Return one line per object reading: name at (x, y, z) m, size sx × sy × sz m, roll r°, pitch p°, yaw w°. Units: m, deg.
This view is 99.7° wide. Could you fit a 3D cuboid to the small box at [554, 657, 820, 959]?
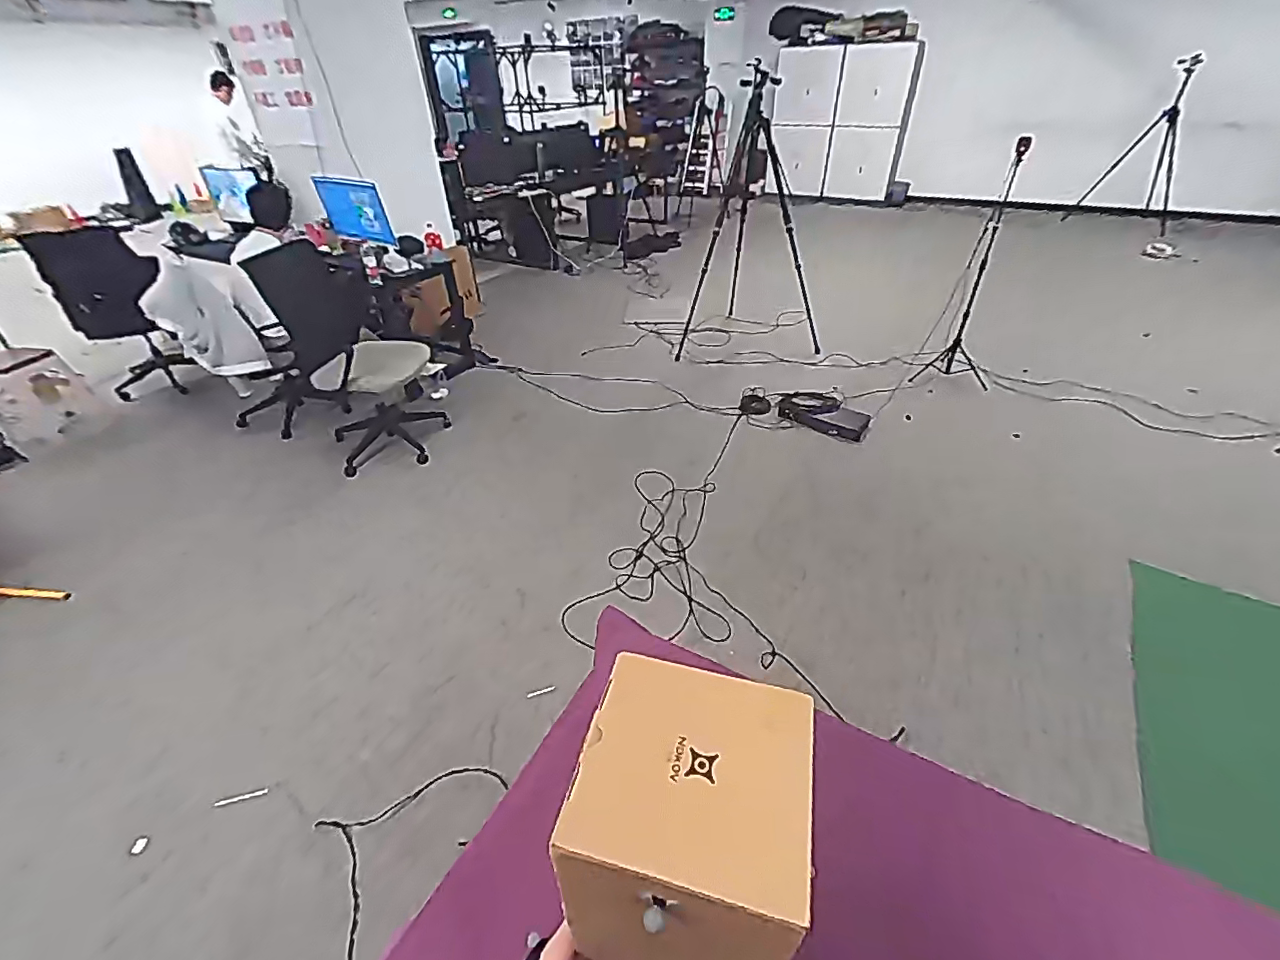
small box at (0.046, 0.285, 0.458) m, size 0.179 × 0.176 × 0.168 m, roll 9°, pitch 37°, yaw 13°
